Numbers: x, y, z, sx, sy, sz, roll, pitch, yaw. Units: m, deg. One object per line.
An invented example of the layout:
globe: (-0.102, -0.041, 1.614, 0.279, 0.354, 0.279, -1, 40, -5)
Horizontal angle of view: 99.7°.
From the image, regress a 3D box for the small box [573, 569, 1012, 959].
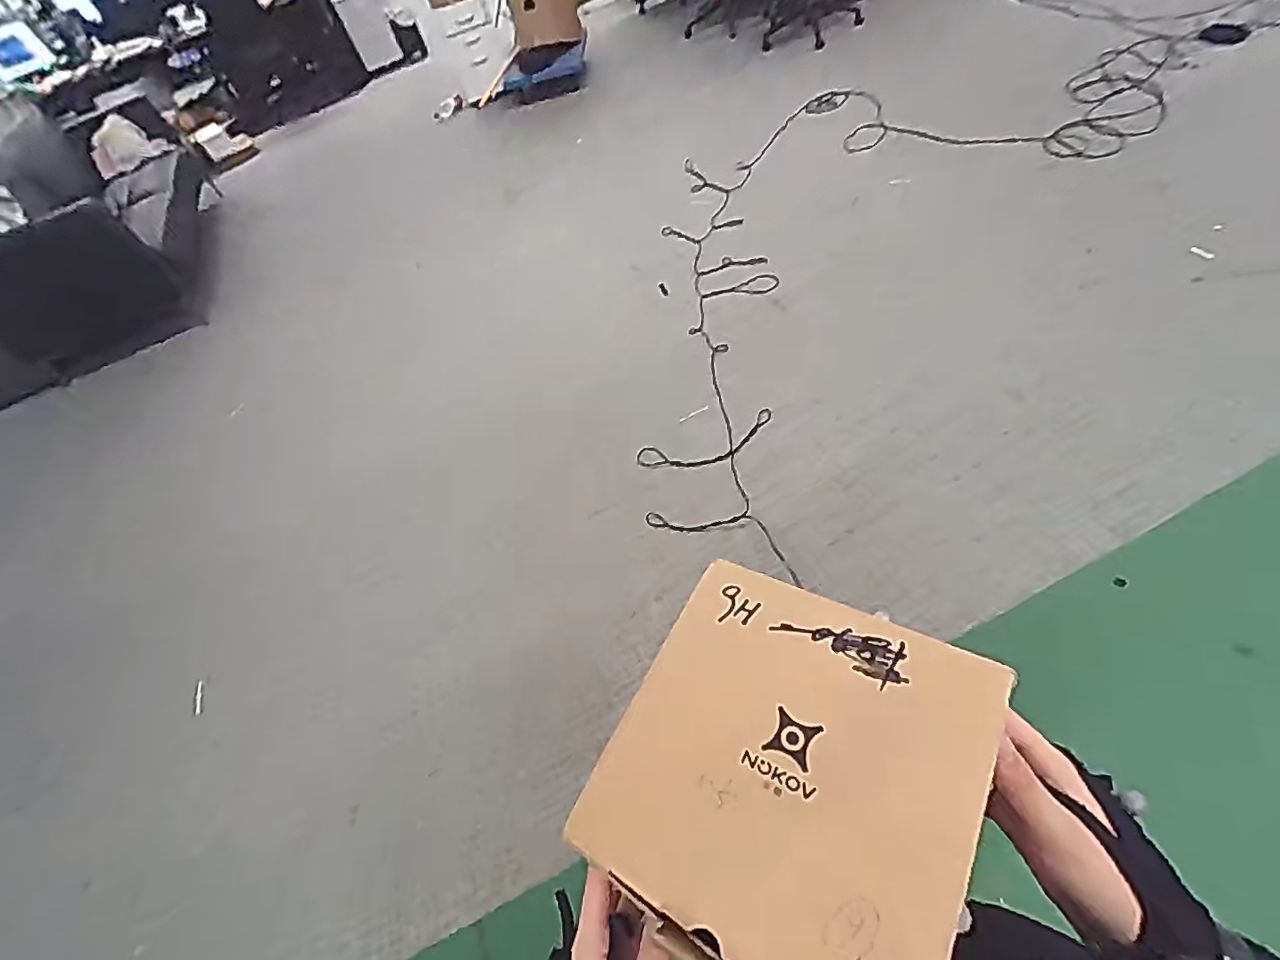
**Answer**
small box: (0.095, 0.190, 0.329, 0.168, 0.176, 0.179, 18, 60, 31)
